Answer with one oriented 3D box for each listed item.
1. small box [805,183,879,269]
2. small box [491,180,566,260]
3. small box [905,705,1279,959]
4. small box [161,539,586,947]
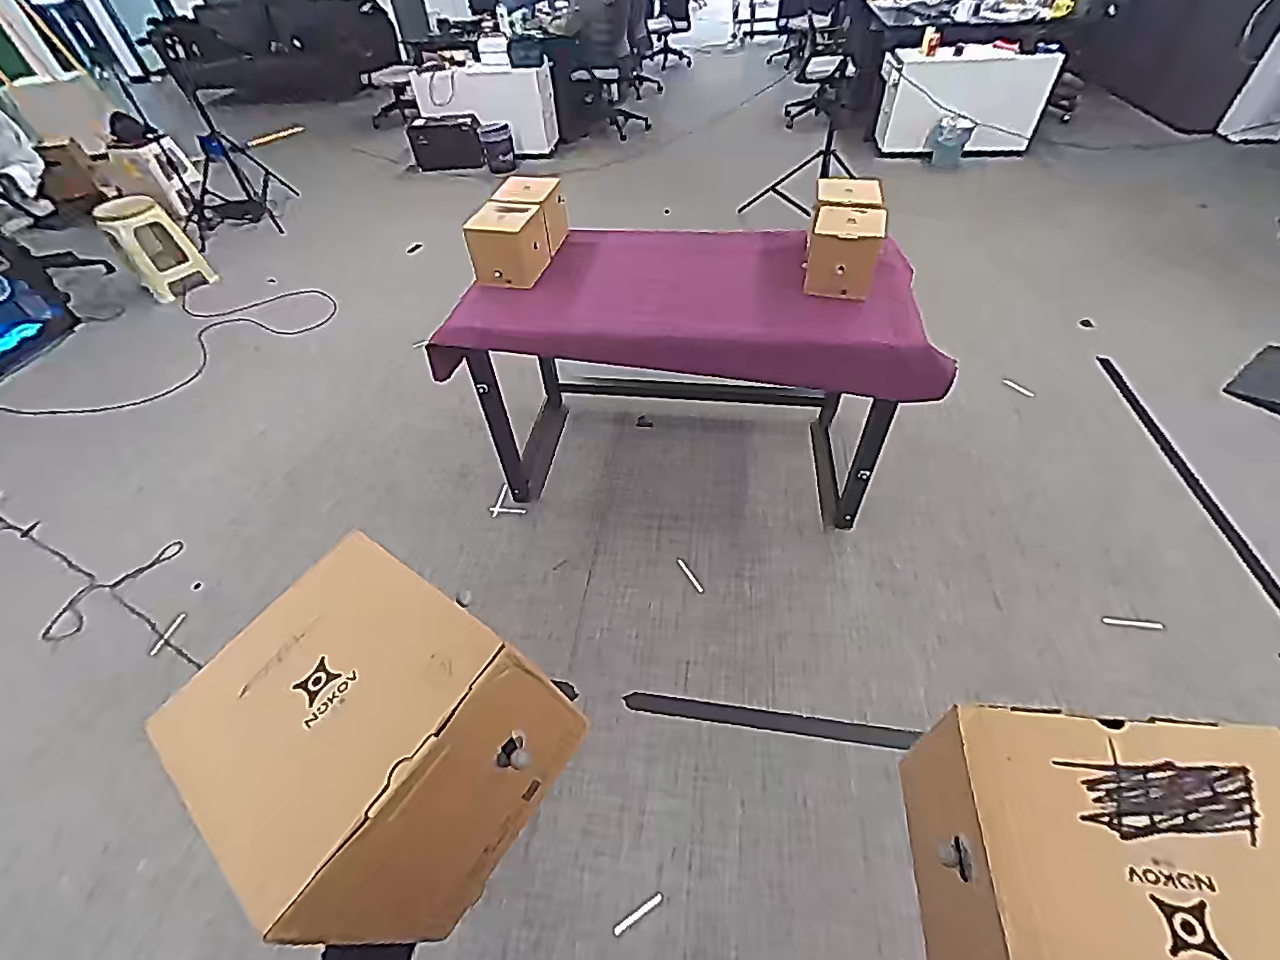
[{"bbox_3d":[0.571,-0.729,1.548,0.168,0.176,0.179,8,48,10],"label":"small box"},{"bbox_3d":[-0.336,-0.804,1.670,0.168,0.176,0.179,8,49,10],"label":"small box"},{"bbox_3d":[0.274,0.255,0.325,0.168,0.176,0.179,0,52,12],"label":"small box"},{"bbox_3d":[-0.165,0.177,0.383,0.179,0.176,0.168,22,59,32],"label":"small box"}]
